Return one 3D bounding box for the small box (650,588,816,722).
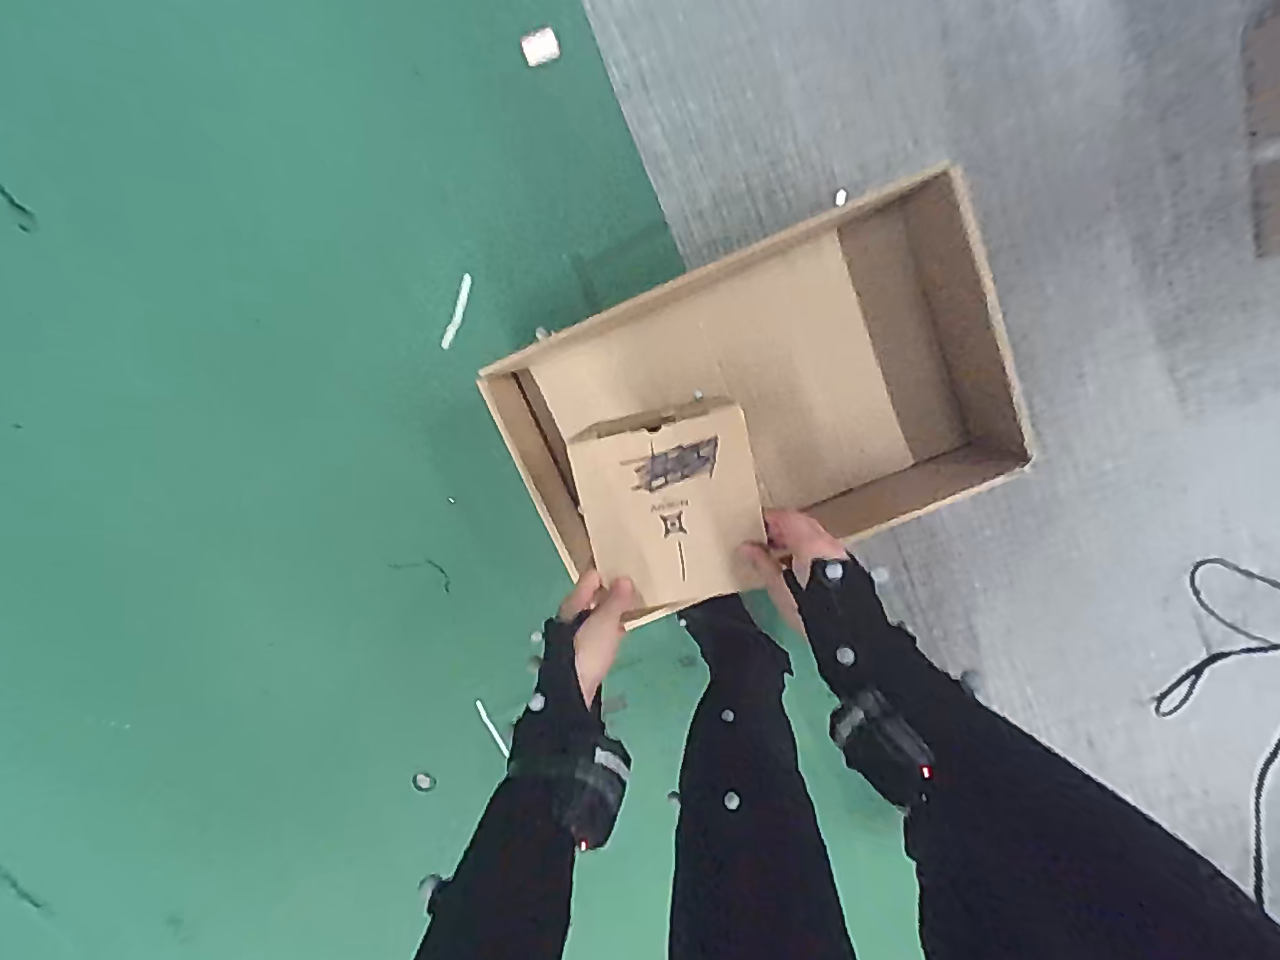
[{"bbox_3d":[0.149,0.254,0.847,0.176,0.168,0.179,27,76,-31],"label":"small box"}]

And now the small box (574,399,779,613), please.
[{"bbox_3d":[0.038,0.014,0.573,0.168,0.176,0.179,-11,102,6],"label":"small box"}]
